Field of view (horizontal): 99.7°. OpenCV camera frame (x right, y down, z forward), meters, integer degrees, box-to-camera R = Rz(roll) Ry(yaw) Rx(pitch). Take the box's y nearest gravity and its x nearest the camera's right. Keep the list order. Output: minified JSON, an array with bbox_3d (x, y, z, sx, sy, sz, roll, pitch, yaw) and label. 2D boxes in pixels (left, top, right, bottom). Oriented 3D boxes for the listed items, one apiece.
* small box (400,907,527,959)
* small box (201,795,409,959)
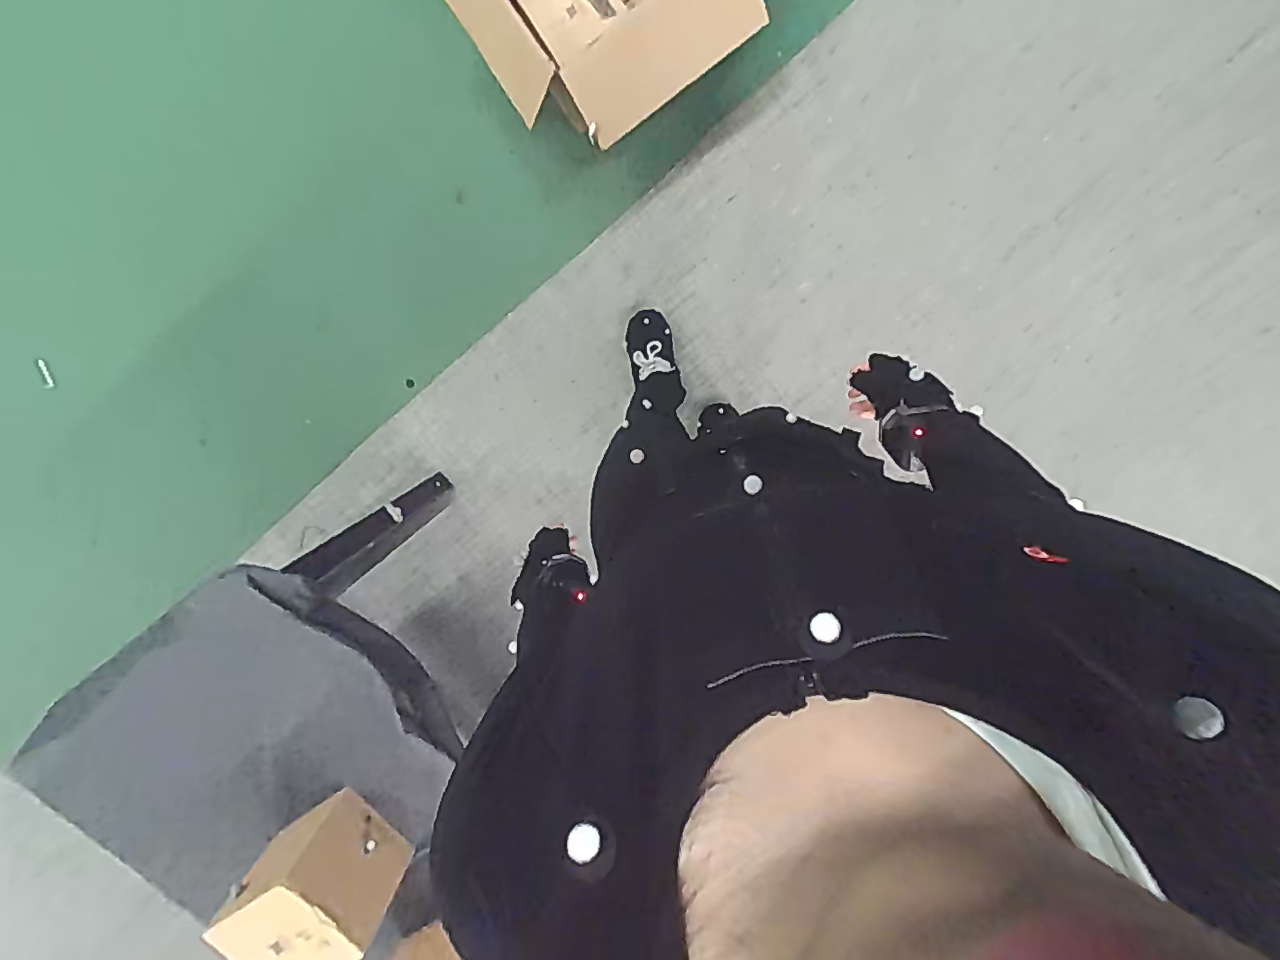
[{"bbox_3d":[-0.313,0.867,0.889,0.179,0.176,0.168,-36,100,9],"label":"small box"},{"bbox_3d":[-0.498,0.639,0.832,0.179,0.176,0.168,-36,101,9],"label":"small box"}]
